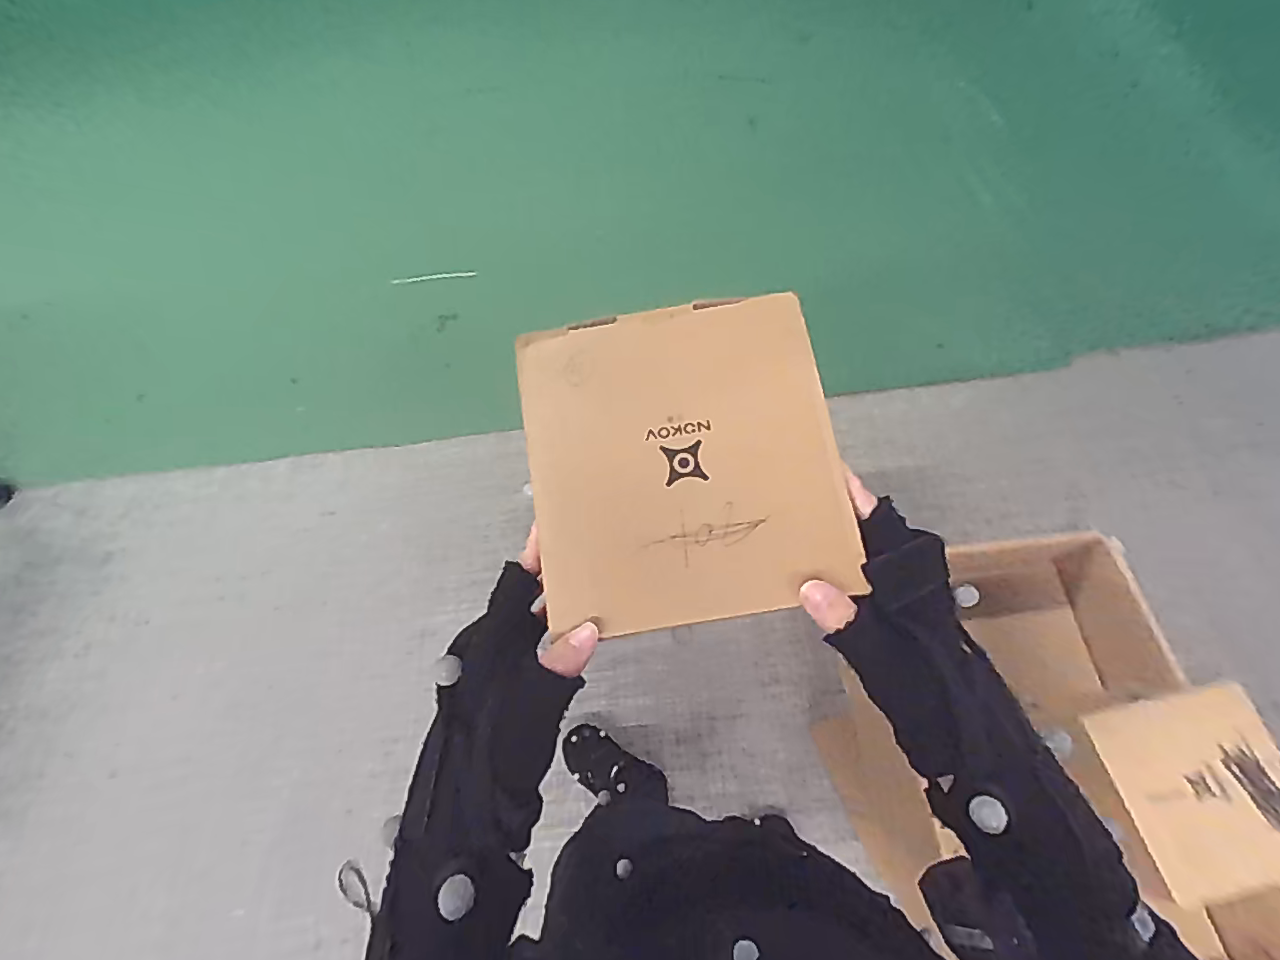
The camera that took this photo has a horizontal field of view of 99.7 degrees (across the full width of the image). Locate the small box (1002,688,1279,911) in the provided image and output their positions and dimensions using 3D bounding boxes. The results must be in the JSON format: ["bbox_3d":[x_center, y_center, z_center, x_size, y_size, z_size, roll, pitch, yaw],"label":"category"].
[{"bbox_3d":[0.559,0.338,0.599,0.179,0.176,0.168,-12,63,-2],"label":"small box"}]

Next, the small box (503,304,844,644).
[{"bbox_3d":[0.014,0.010,0.377,0.168,0.176,0.179,-11,76,-1],"label":"small box"}]
